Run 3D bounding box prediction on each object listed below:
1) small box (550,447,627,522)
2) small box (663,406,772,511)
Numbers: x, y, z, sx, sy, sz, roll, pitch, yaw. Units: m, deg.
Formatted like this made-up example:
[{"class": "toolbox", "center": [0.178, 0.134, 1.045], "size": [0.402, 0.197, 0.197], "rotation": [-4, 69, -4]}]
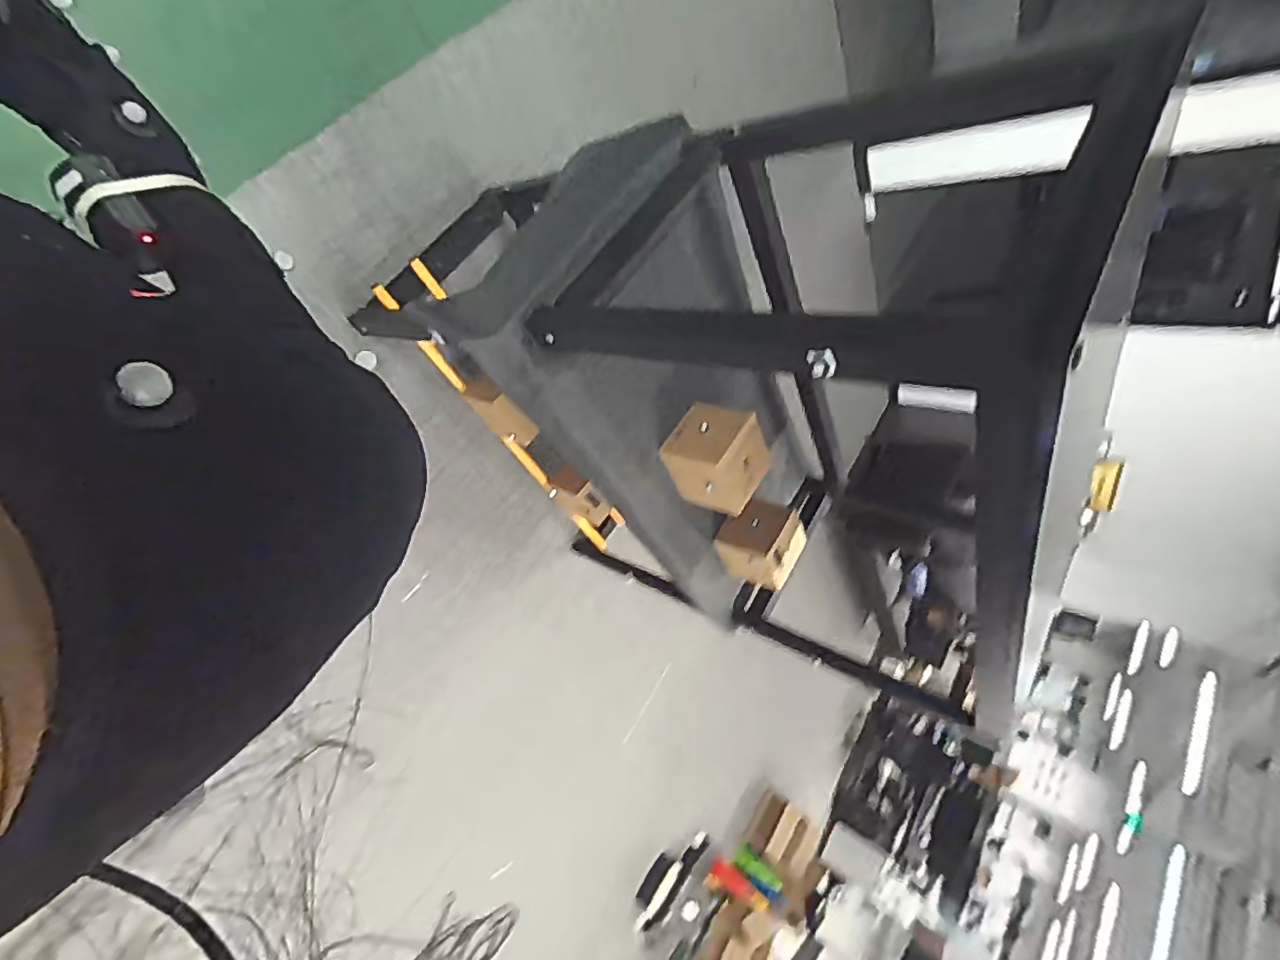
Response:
[{"class": "small box", "center": [-0.181, 0.011, 1.839], "size": [0.179, 0.176, 0.168], "rotation": [-52, 136, -22]}, {"class": "small box", "center": [0.180, -0.058, 1.257], "size": [0.168, 0.176, 0.179], "rotation": [-53, 136, -22]}]
